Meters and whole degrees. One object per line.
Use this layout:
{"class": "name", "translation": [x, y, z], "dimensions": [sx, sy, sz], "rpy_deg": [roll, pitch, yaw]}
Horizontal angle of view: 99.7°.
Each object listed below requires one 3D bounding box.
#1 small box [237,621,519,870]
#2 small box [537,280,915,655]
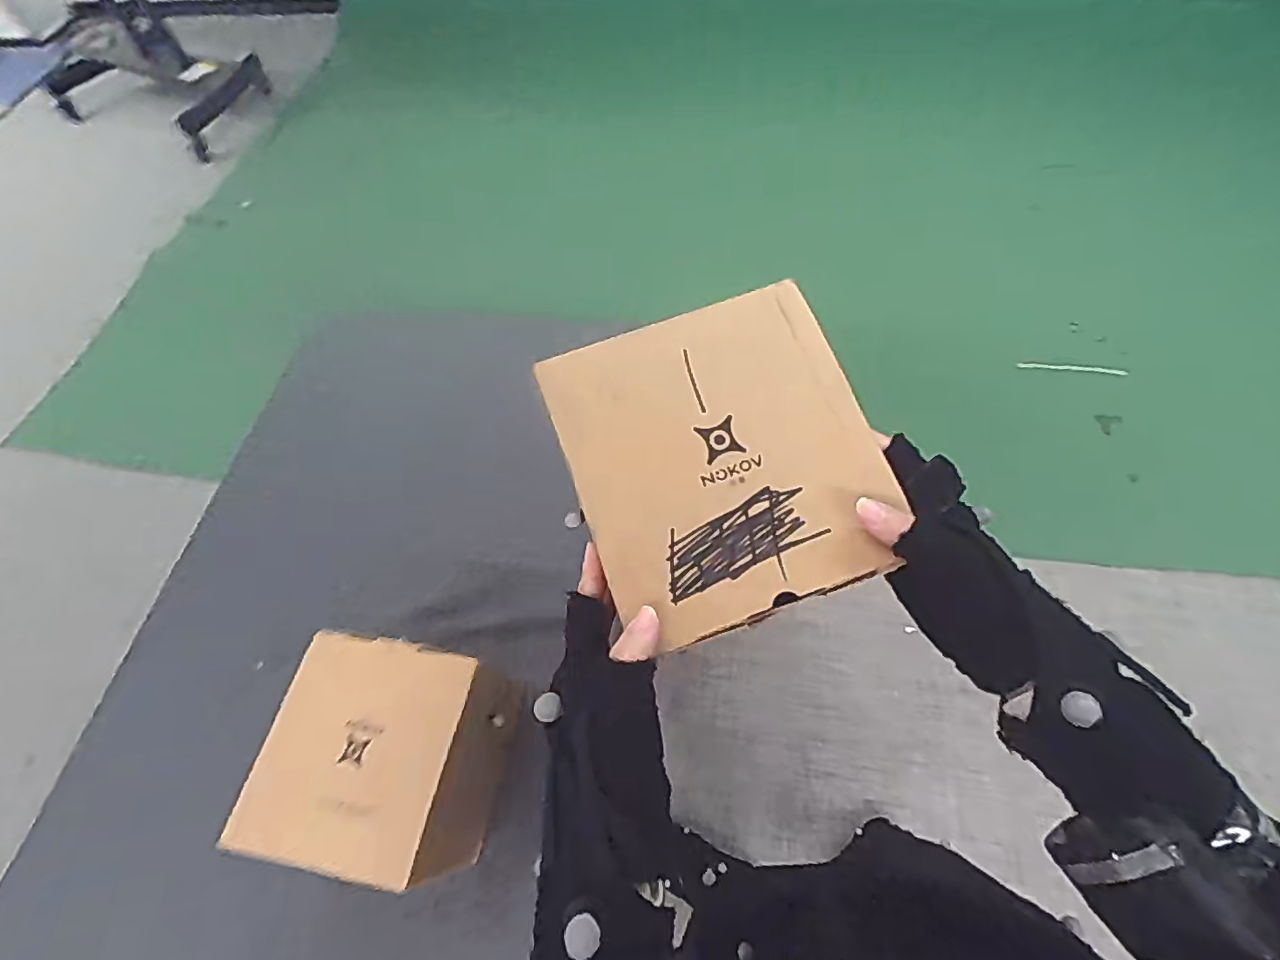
{"class": "small box", "translation": [-0.235, 0.259, 0.544], "dimensions": [0.168, 0.176, 0.179], "rpy_deg": [6, 63, 9]}
{"class": "small box", "translation": [0.046, 0.001, 0.384], "dimensions": [0.168, 0.176, 0.179], "rpy_deg": [-22, 79, -5]}
